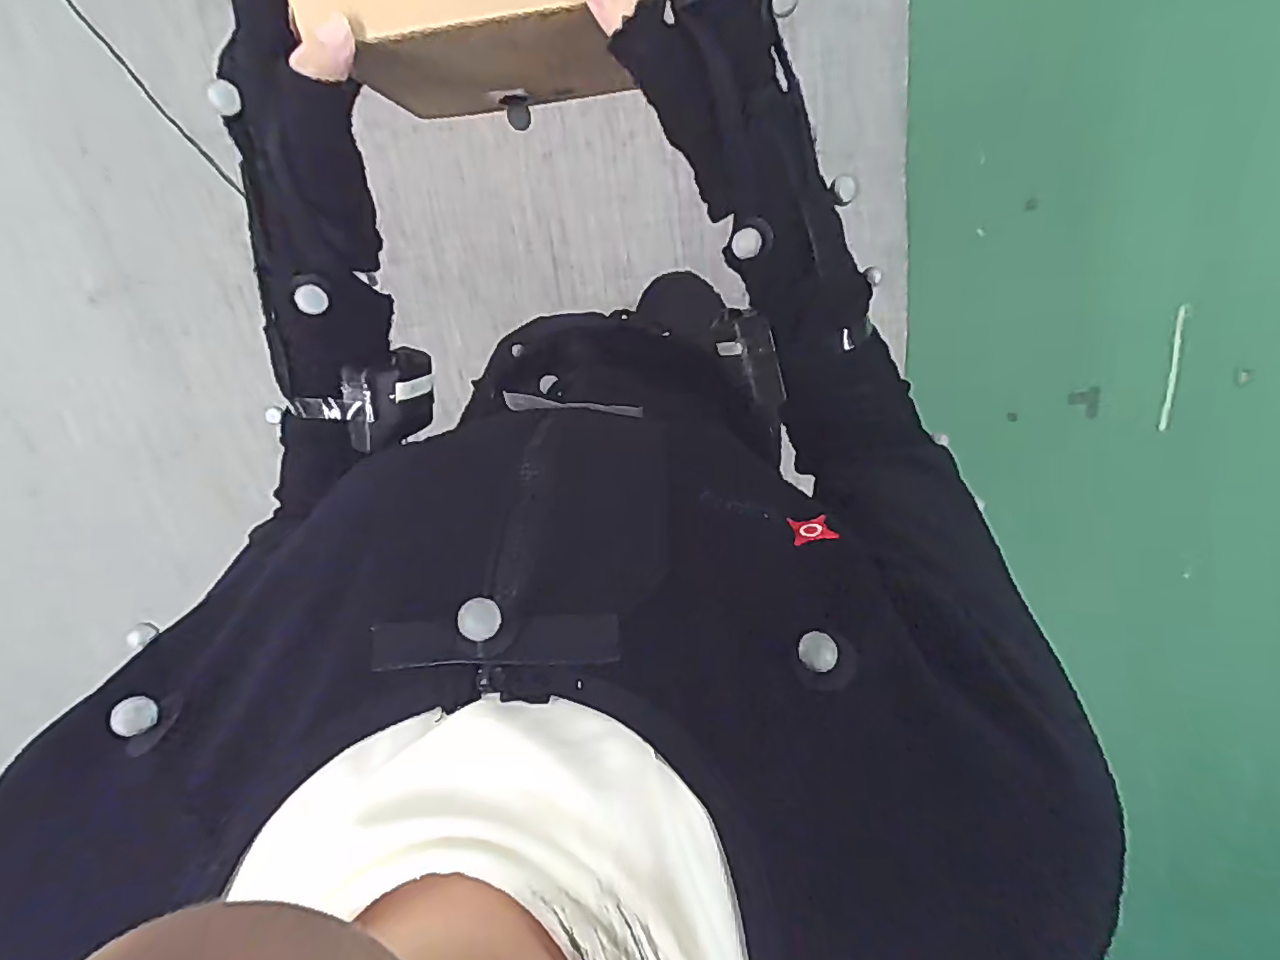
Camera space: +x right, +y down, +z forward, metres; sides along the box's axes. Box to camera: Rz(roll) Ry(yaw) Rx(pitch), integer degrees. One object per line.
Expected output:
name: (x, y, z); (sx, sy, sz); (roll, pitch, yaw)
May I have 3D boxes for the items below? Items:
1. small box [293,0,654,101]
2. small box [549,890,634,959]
small box: (-0.085, -0.325, 0.276); (0.168, 0.176, 0.179); (-7, 115, 2)
small box: (-0.110, 1.140, 1.303); (0.168, 0.176, 0.179); (-14, 108, 3)
